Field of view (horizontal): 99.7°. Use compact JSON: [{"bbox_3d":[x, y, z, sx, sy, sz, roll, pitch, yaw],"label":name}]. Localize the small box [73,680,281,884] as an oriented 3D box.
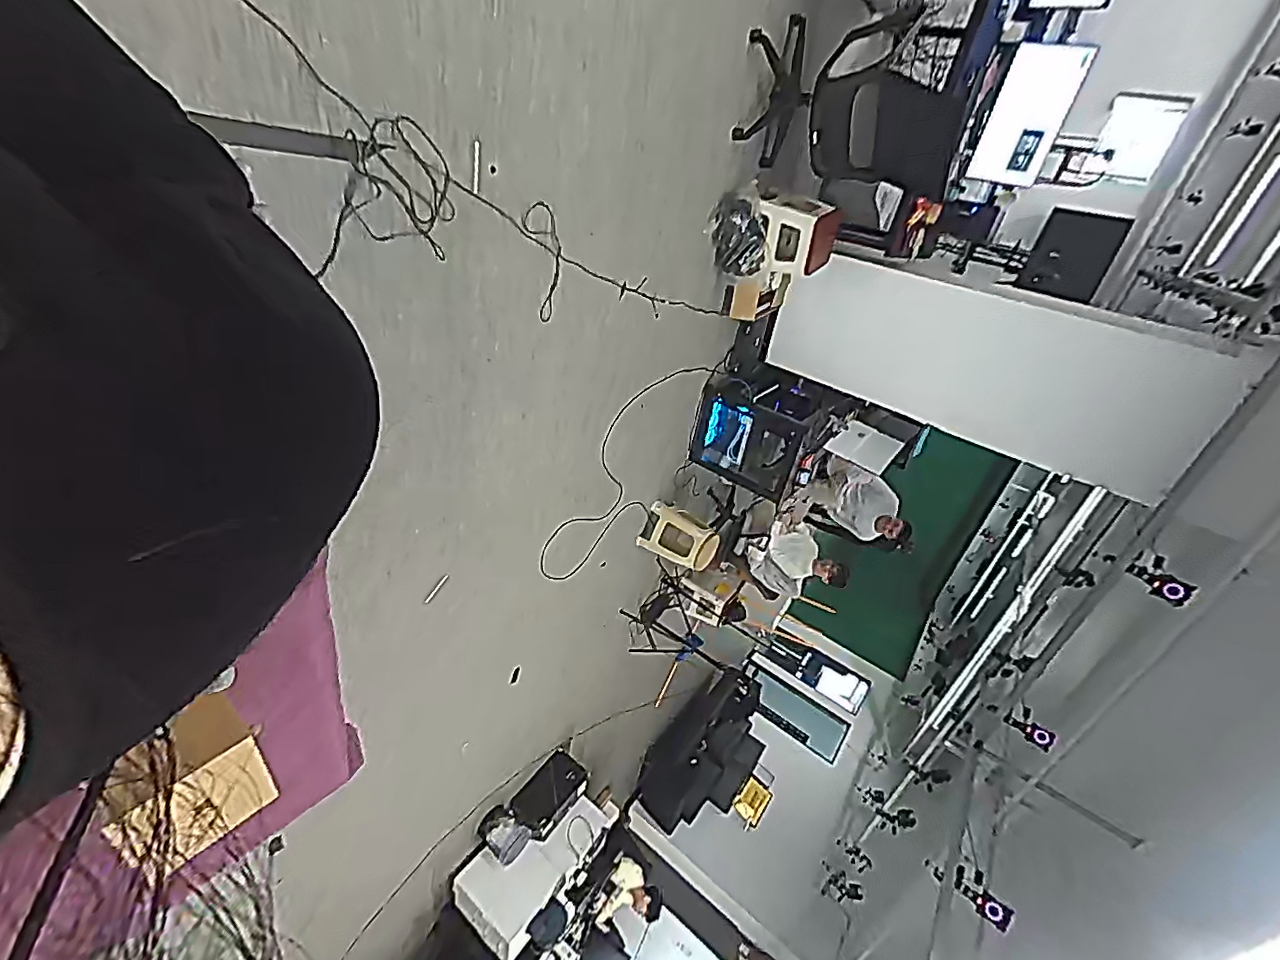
[{"bbox_3d":[-0.673,0.427,0.795,0.168,0.176,0.179,-31,142,-45],"label":"small box"}]
